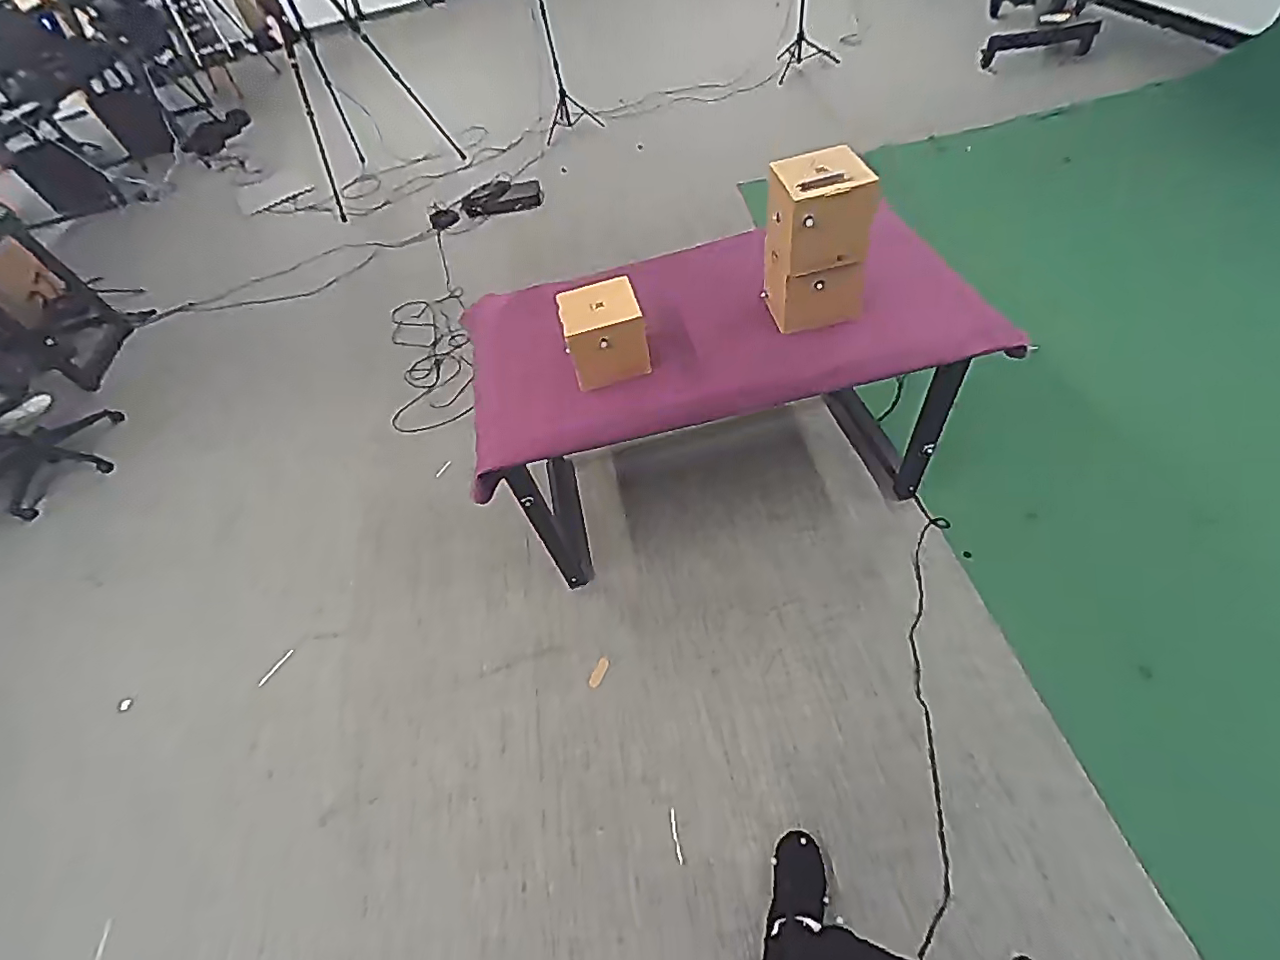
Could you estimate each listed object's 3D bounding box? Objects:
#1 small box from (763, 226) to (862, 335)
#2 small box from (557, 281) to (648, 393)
[{"bbox_3d":[0.398,-0.465,1.277,0.179,0.176,0.168,-12,53,2],"label":"small box"},{"bbox_3d":[-0.083,-0.334,1.276,0.179,0.176,0.168,-16,53,0],"label":"small box"}]
